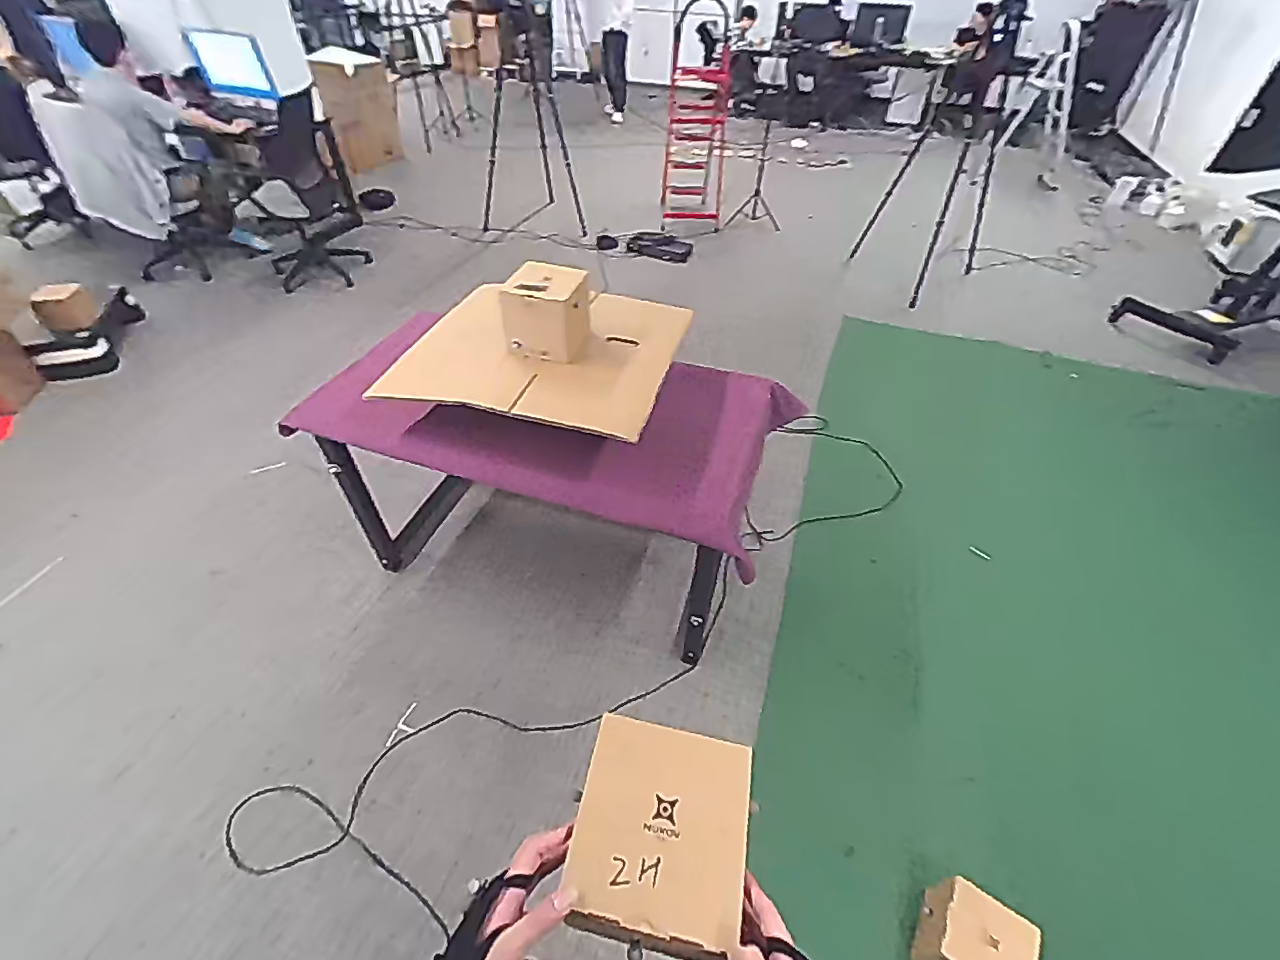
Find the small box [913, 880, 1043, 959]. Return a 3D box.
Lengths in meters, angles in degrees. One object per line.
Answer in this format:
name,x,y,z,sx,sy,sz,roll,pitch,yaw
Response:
small box,0.739,1.036,1.192,0.179,0.176,0.168,26,50,24

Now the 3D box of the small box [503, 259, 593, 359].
small box,-0.219,-0.422,1.343,0.168,0.176,0.179,14,45,9
